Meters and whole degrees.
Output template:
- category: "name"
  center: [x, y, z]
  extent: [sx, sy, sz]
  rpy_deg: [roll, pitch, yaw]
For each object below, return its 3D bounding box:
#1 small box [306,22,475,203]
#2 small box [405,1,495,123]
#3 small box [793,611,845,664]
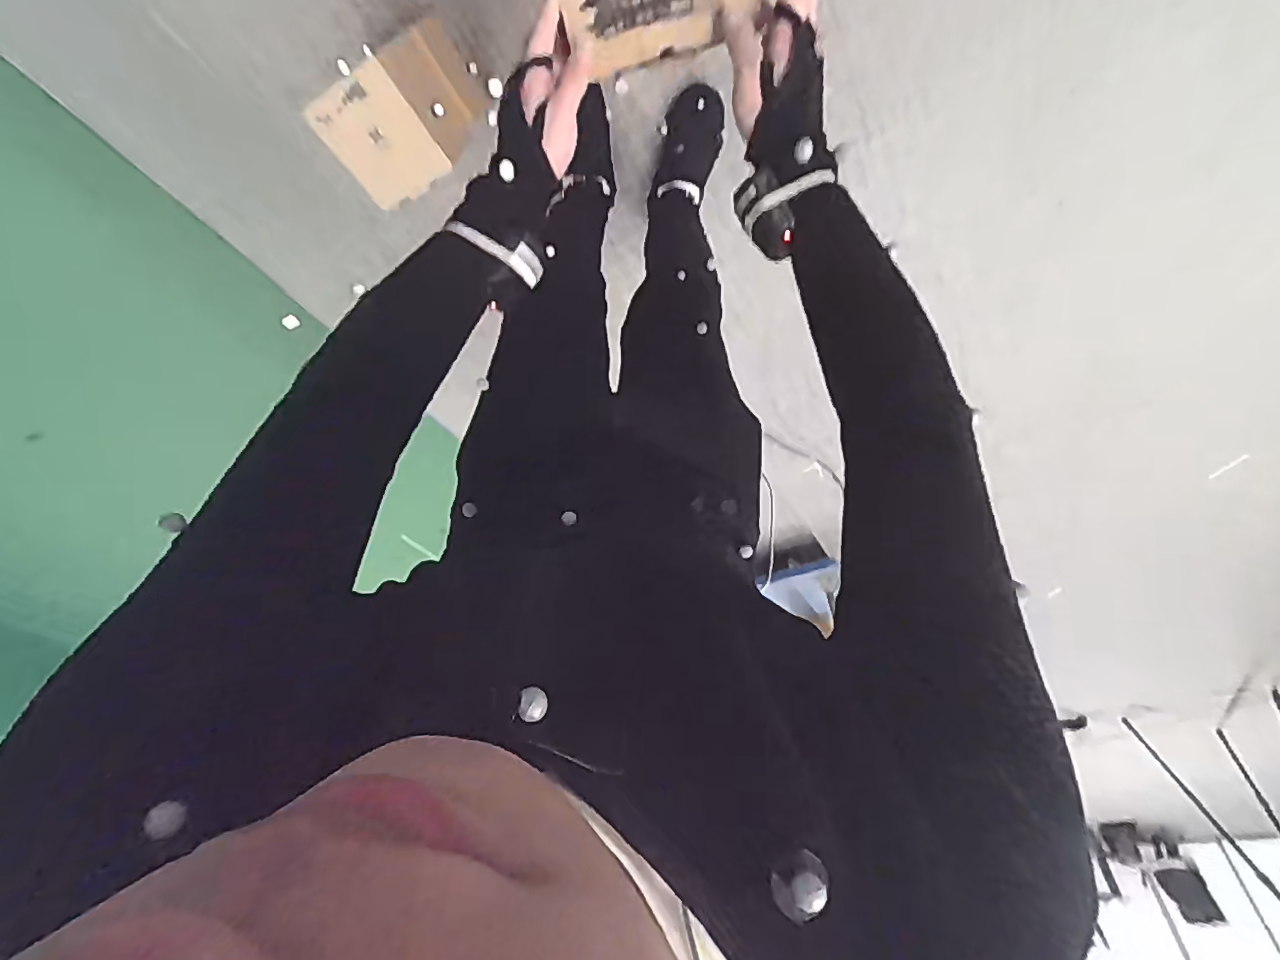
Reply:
- category: "small box"
  center: [-0.408, -0.621, 0.918]
  extent: [0.168, 0.176, 0.179]
  rpy_deg: [-16, 138, 21]
- category: "small box"
  center: [-0.401, -0.750, 1.018]
  extent: [0.179, 0.176, 0.168]
  rpy_deg: [-17, 137, 21]
- category: "small box"
  center: [0.786, 0.690, 2.384]
  extent: [0.168, 0.176, 0.179]
  rpy_deg: [-18, 136, 23]
